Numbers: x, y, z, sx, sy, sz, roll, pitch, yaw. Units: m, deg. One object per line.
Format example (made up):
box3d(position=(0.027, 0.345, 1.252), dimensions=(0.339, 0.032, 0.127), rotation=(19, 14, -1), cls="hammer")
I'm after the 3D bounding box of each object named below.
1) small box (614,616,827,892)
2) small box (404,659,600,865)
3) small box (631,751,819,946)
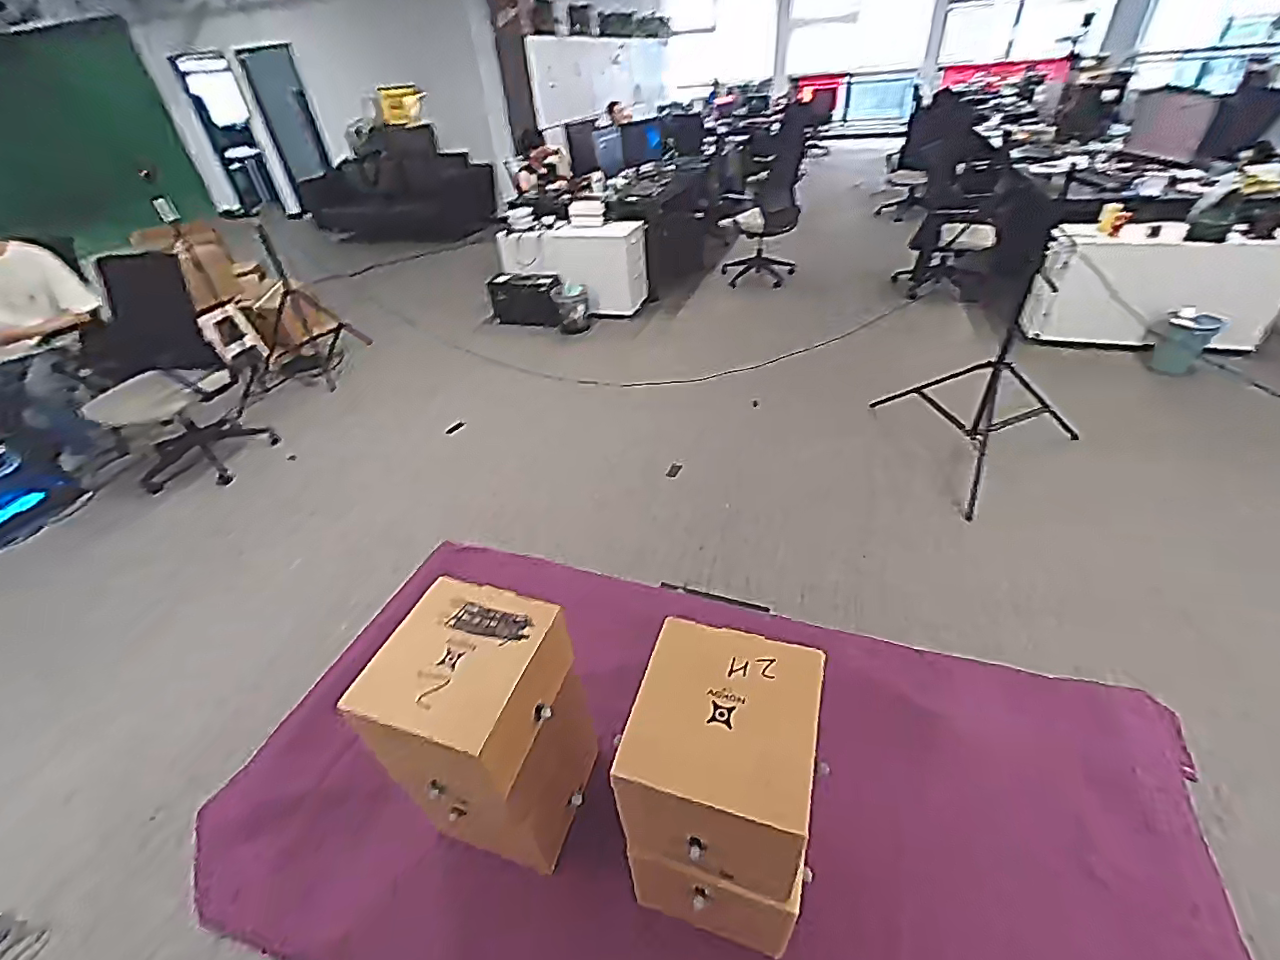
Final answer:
box3d(position=(0.088, 0.273, 0.549), dimensions=(0.168, 0.176, 0.179), rotation=(9, 39, 18), cls="small box")
box3d(position=(-0.168, 0.372, 0.719), dimensions=(0.179, 0.176, 0.168), rotation=(9, 40, 17), cls="small box")
box3d(position=(0.105, 0.410, 0.641), dimensions=(0.179, 0.176, 0.168), rotation=(8, 39, 18), cls="small box")
